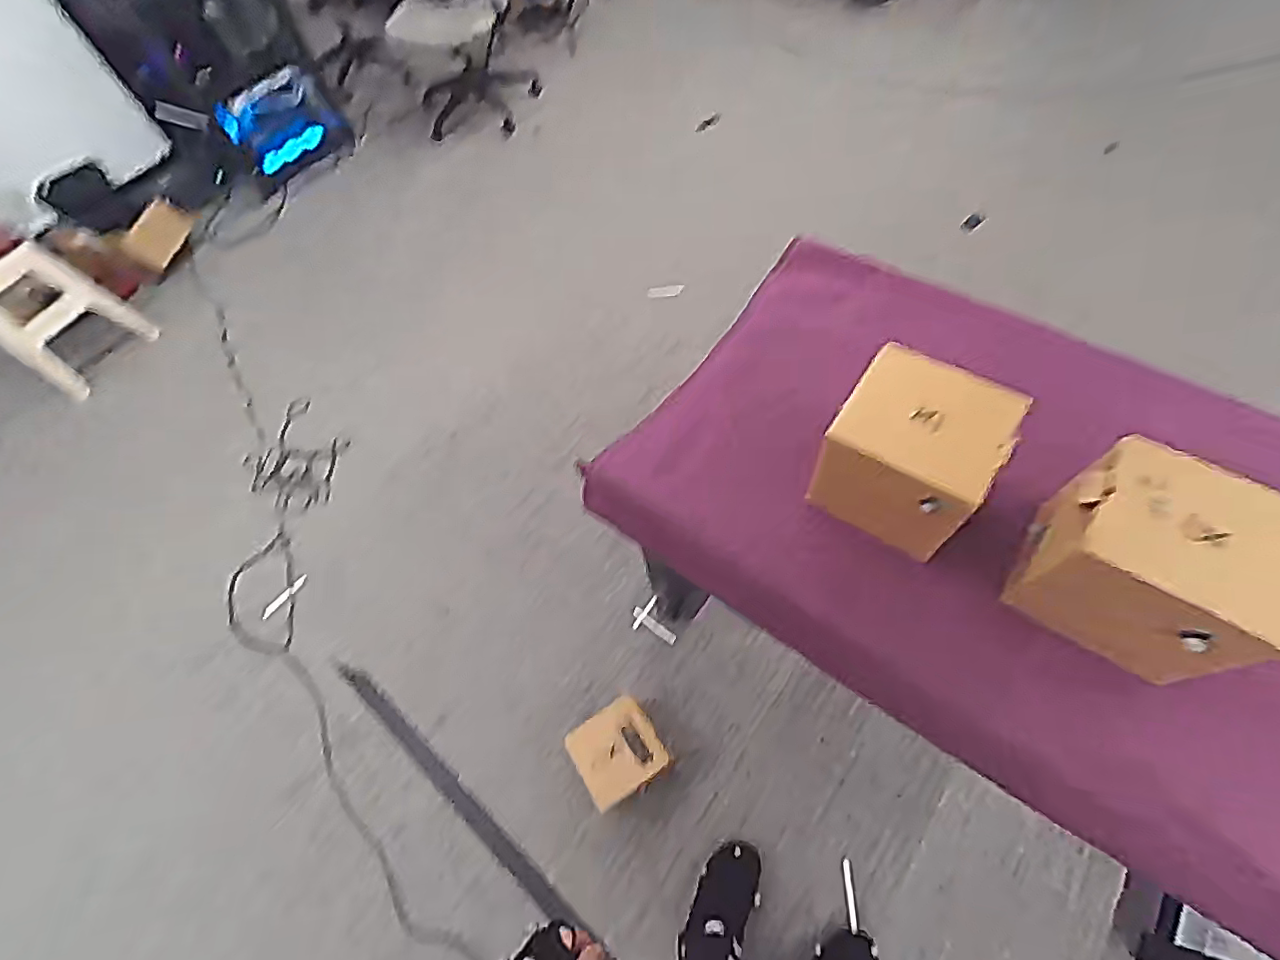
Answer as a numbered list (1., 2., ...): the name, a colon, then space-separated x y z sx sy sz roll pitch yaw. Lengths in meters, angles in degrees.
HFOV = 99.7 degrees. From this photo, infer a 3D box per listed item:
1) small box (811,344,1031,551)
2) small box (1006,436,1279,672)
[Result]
1. small box: 0.342 -0.035 0.693 0.179 0.176 0.168 30 68 20
2. small box: 0.556 0.090 0.595 0.179 0.176 0.168 31 68 22
